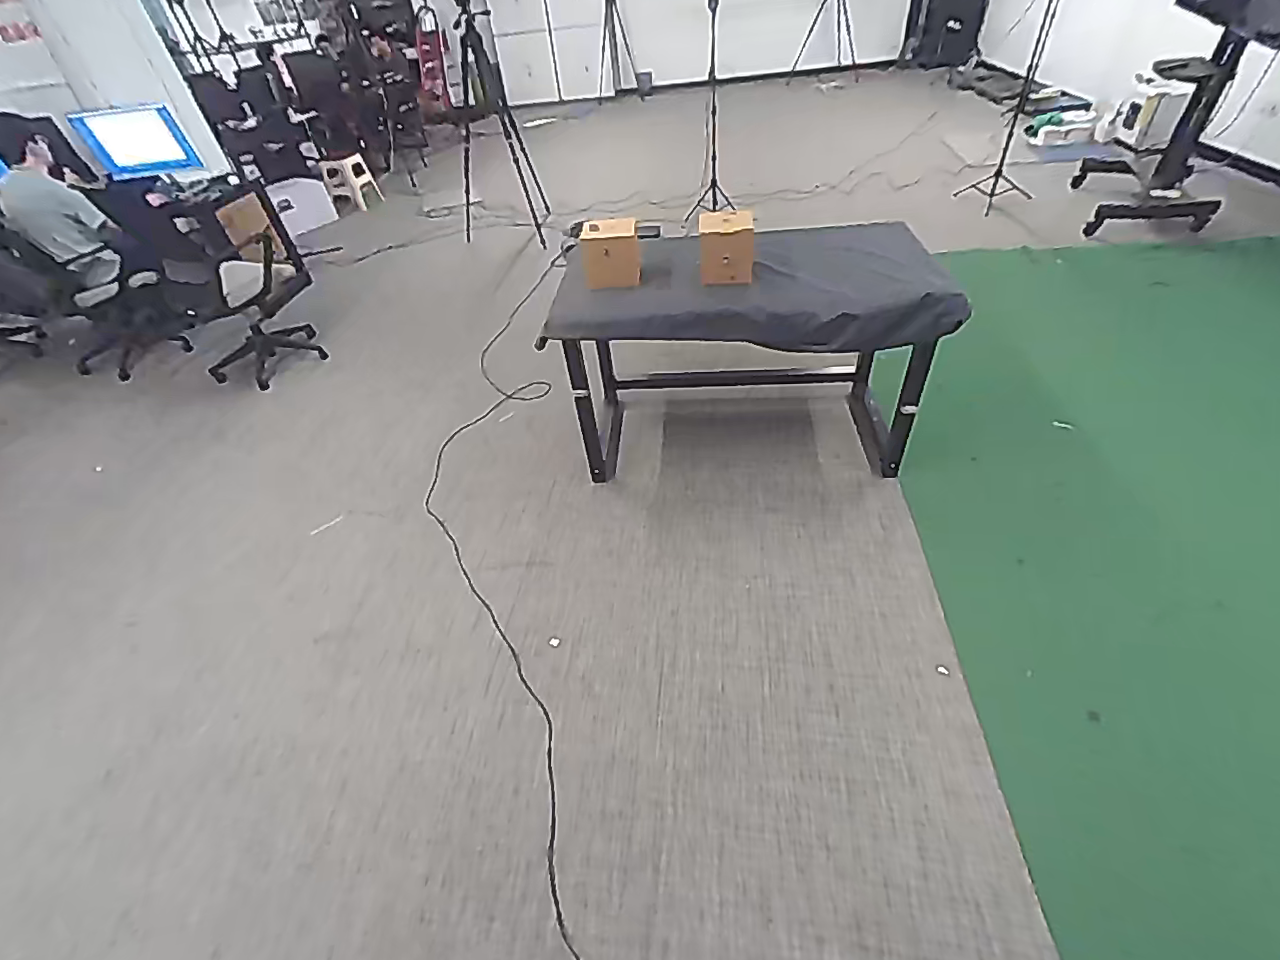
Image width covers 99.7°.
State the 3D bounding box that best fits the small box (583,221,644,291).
[{"bbox_3d":[-0.085,-0.741,1.798,0.179,0.176,0.168,-2,43,4],"label":"small box"}]

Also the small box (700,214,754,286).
[{"bbox_3d":[0.282,-0.738,1.744,0.168,0.176,0.179,0,44,9],"label":"small box"}]
